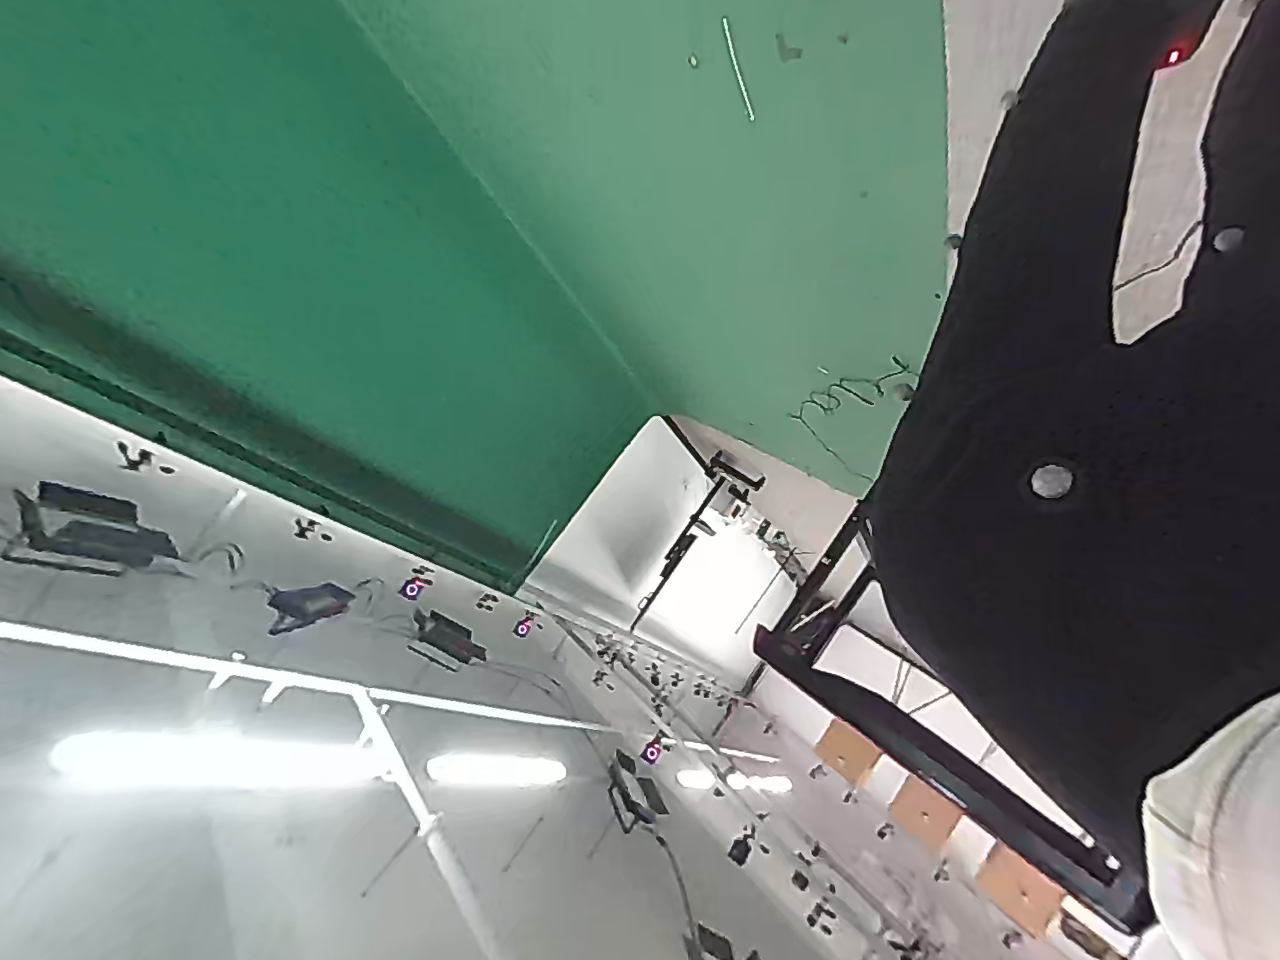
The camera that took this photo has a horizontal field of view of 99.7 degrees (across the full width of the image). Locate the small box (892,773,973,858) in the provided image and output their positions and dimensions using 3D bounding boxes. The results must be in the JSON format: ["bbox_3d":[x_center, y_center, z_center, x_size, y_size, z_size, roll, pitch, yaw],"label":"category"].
[{"bbox_3d":[0.964,1.100,1.790,0.179,0.176,0.168,31,173,36],"label":"small box"}]

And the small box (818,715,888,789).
[{"bbox_3d":[0.779,0.984,1.958,0.179,0.176,0.168,31,172,39],"label":"small box"}]

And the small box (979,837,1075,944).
[{"bbox_3d":[1.148,1.210,1.608,0.179,0.176,0.168,31,171,37],"label":"small box"}]
